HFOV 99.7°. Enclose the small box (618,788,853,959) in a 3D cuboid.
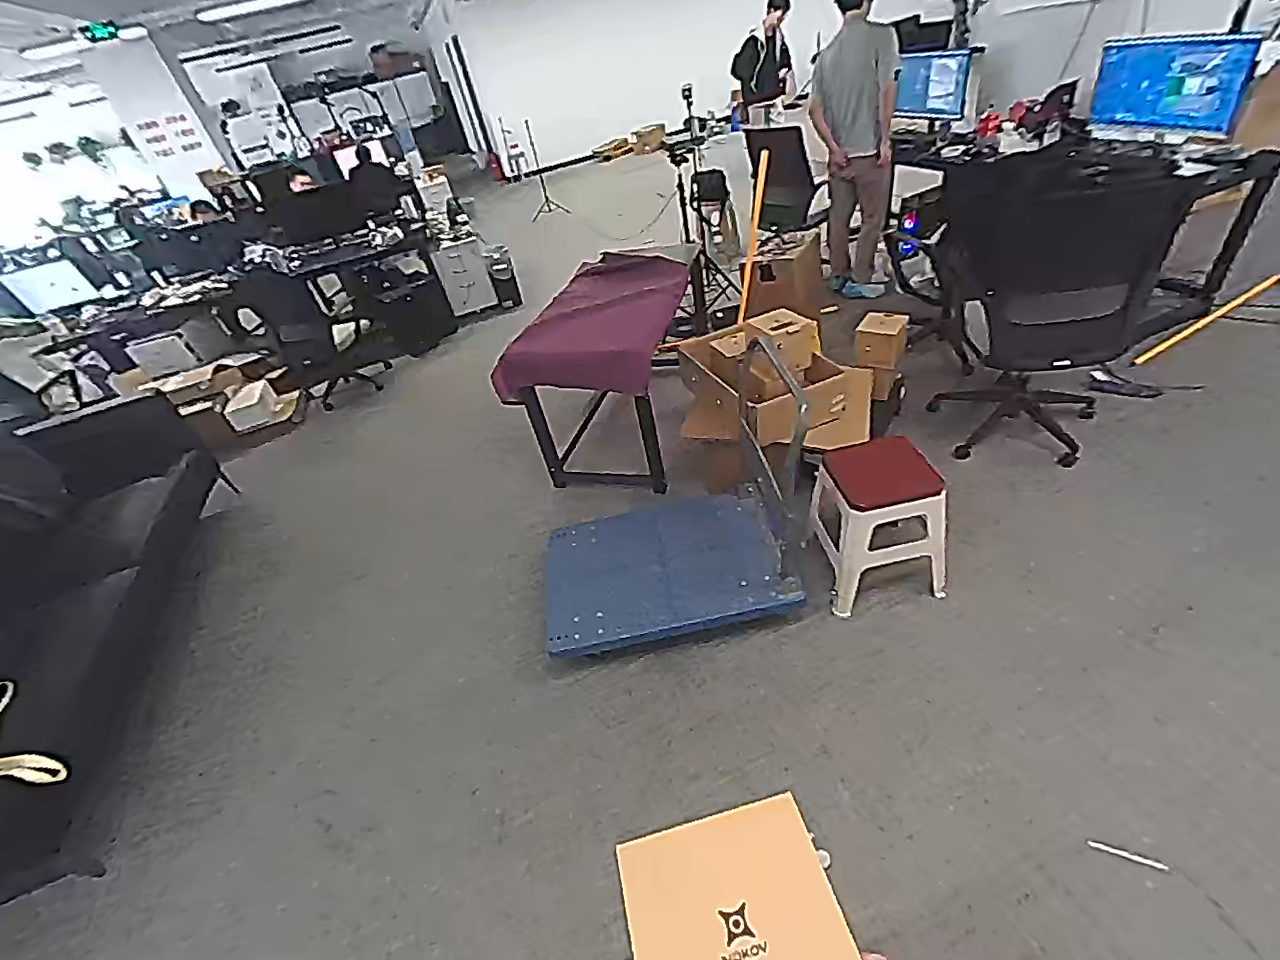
[{"bbox_3d":[0.083,0.416,0.478,0.168,0.176,0.179,-13,39,-4],"label":"small box"}]
